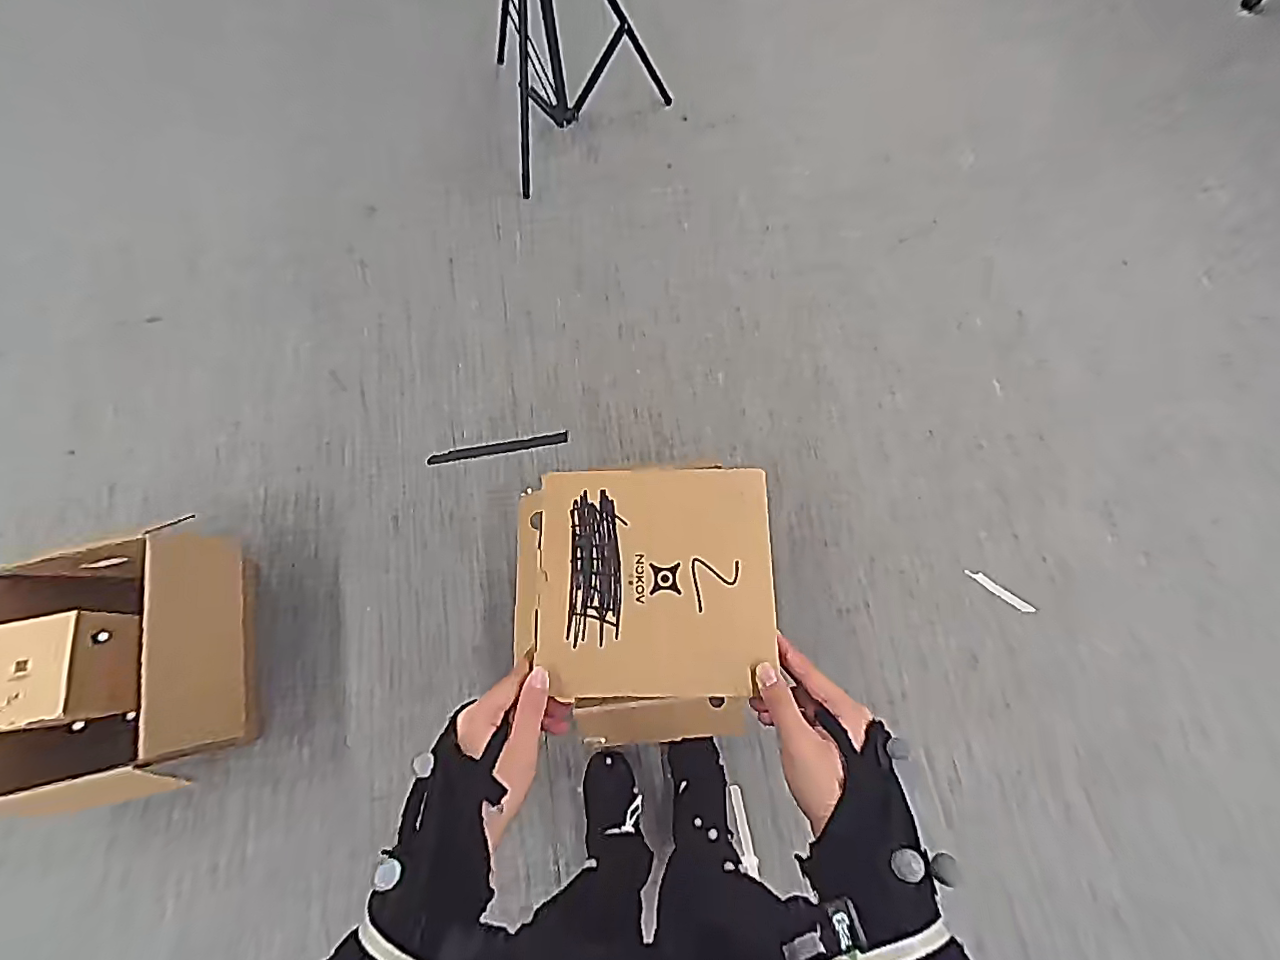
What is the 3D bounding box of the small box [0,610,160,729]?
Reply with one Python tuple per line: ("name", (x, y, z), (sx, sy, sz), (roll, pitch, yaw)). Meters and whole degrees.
("small box", (-1.032, 0.345, 0.987), (0.168, 0.176, 0.179), (-11, 72, -2))
